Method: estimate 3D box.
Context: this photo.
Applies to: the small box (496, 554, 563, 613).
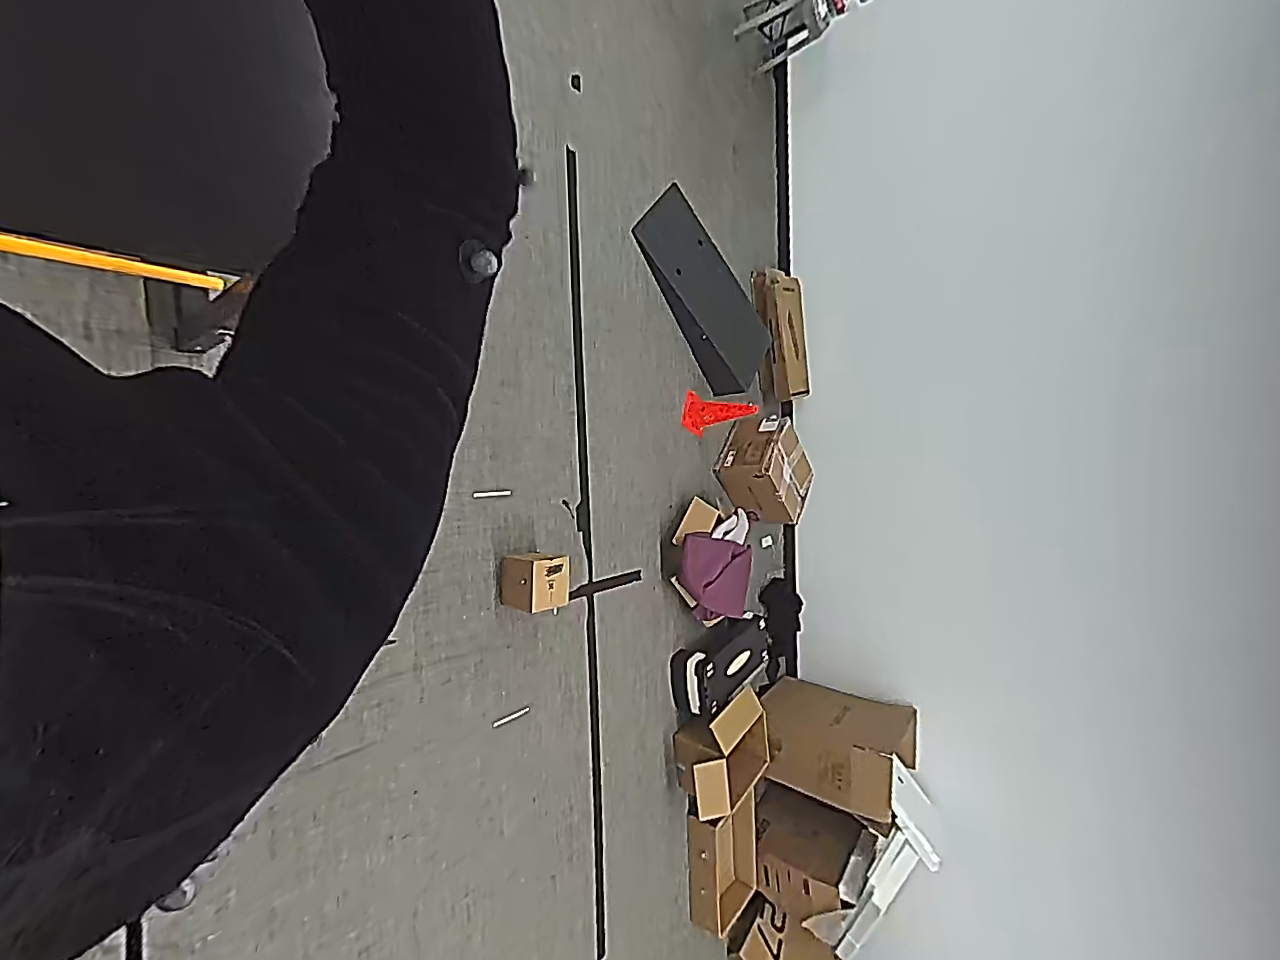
[{"bbox_3d":[-0.388,0.354,1.890,0.168,0.176,0.179,2,90,-51],"label":"small box"}]
